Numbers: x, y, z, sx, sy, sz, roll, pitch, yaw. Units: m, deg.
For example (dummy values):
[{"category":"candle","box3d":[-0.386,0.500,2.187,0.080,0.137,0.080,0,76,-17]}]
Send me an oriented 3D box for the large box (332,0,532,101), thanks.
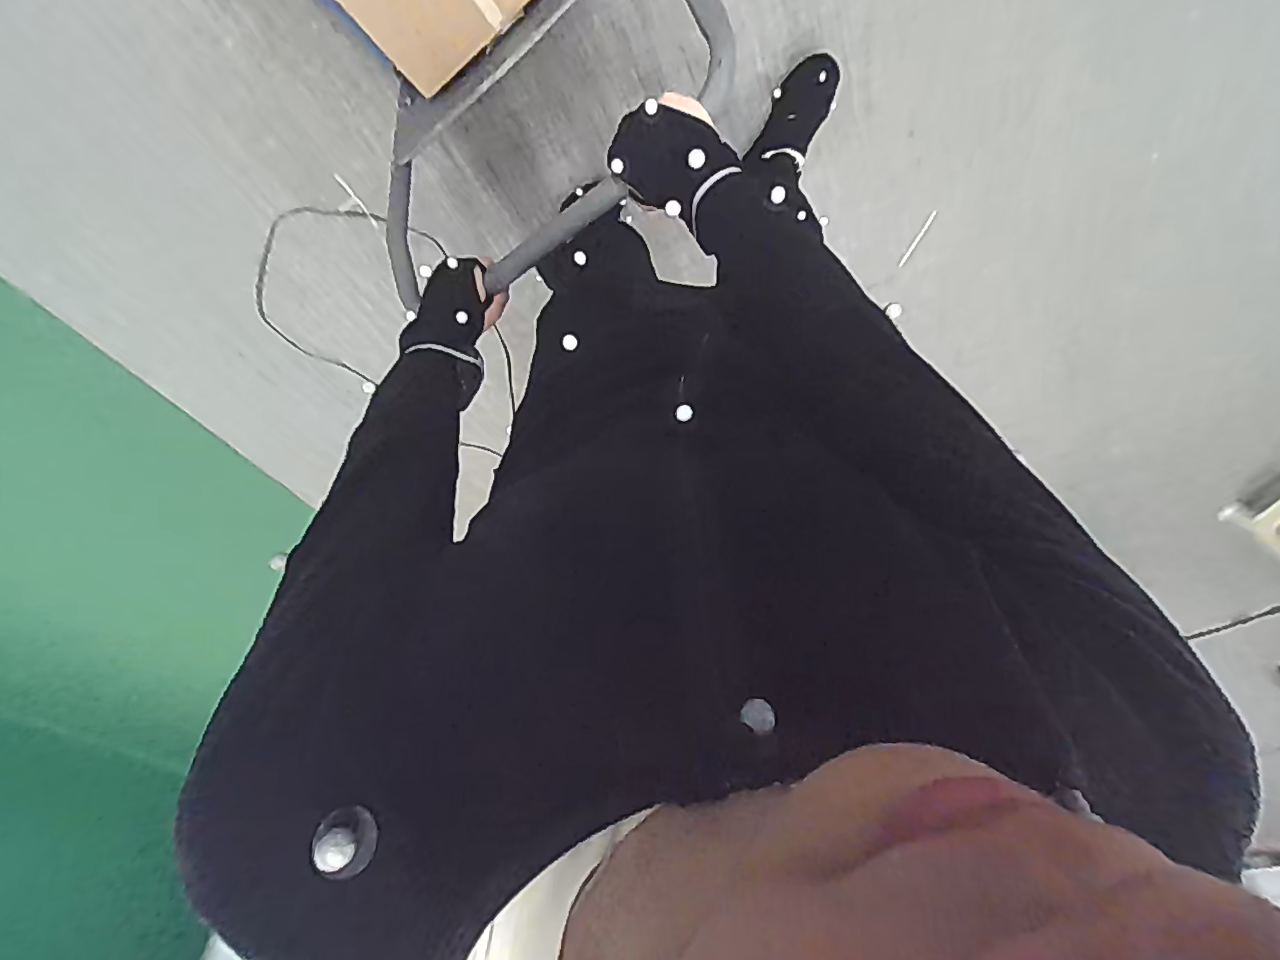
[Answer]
[{"category":"large box","box3d":[-0.321,-0.833,0.697,0.320,0.320,0.408,-25,144,25]}]
